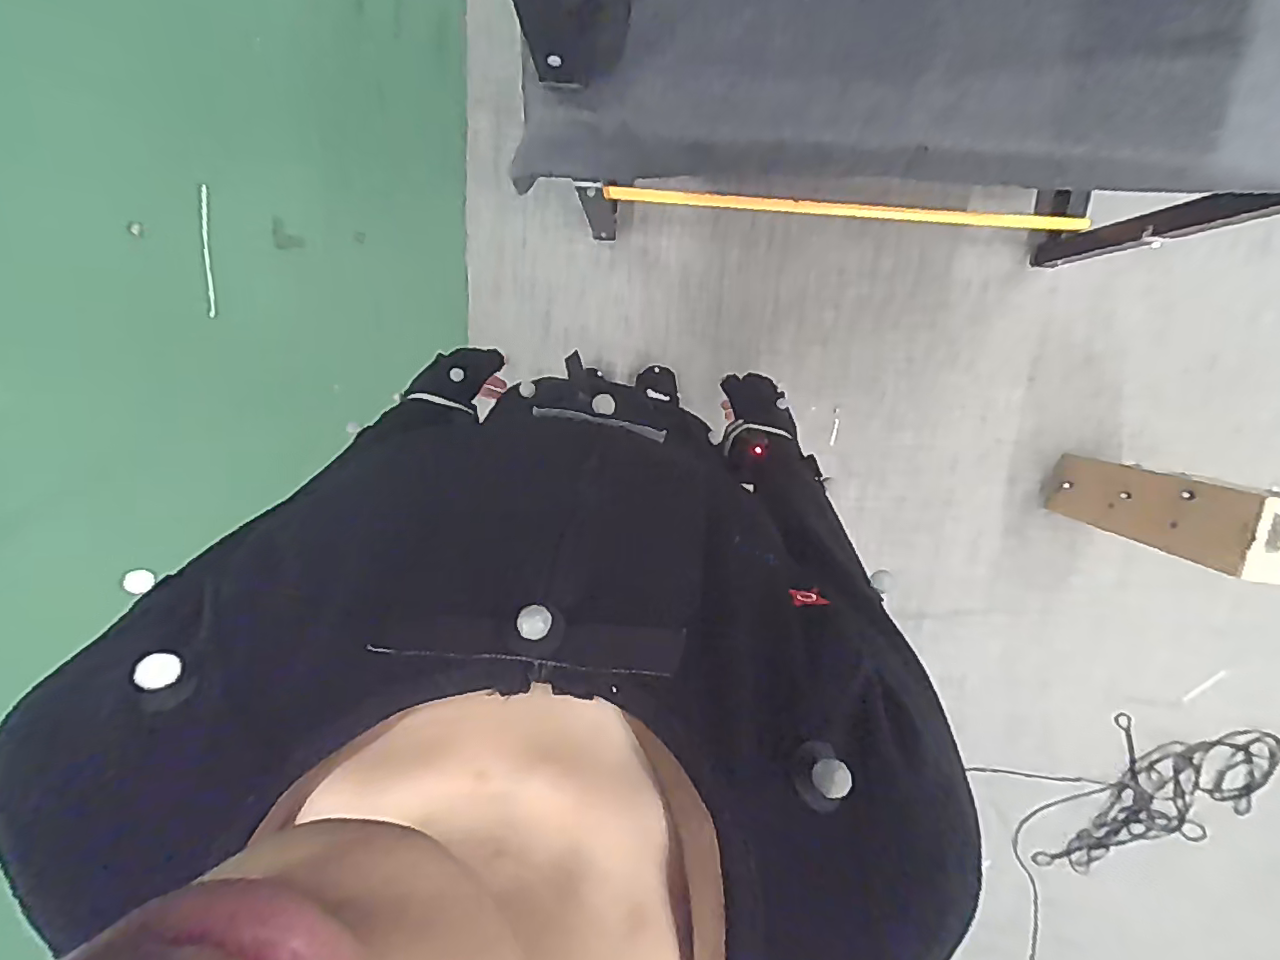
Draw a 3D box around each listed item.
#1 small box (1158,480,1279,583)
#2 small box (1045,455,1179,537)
[{"bbox_3d":[1.227,0.101,1.098,0.179,0.176,0.168,7,102,-2],"label":"small box"},{"bbox_3d":[1.226,0.036,1.417,0.179,0.176,0.168,9,101,-2],"label":"small box"}]
